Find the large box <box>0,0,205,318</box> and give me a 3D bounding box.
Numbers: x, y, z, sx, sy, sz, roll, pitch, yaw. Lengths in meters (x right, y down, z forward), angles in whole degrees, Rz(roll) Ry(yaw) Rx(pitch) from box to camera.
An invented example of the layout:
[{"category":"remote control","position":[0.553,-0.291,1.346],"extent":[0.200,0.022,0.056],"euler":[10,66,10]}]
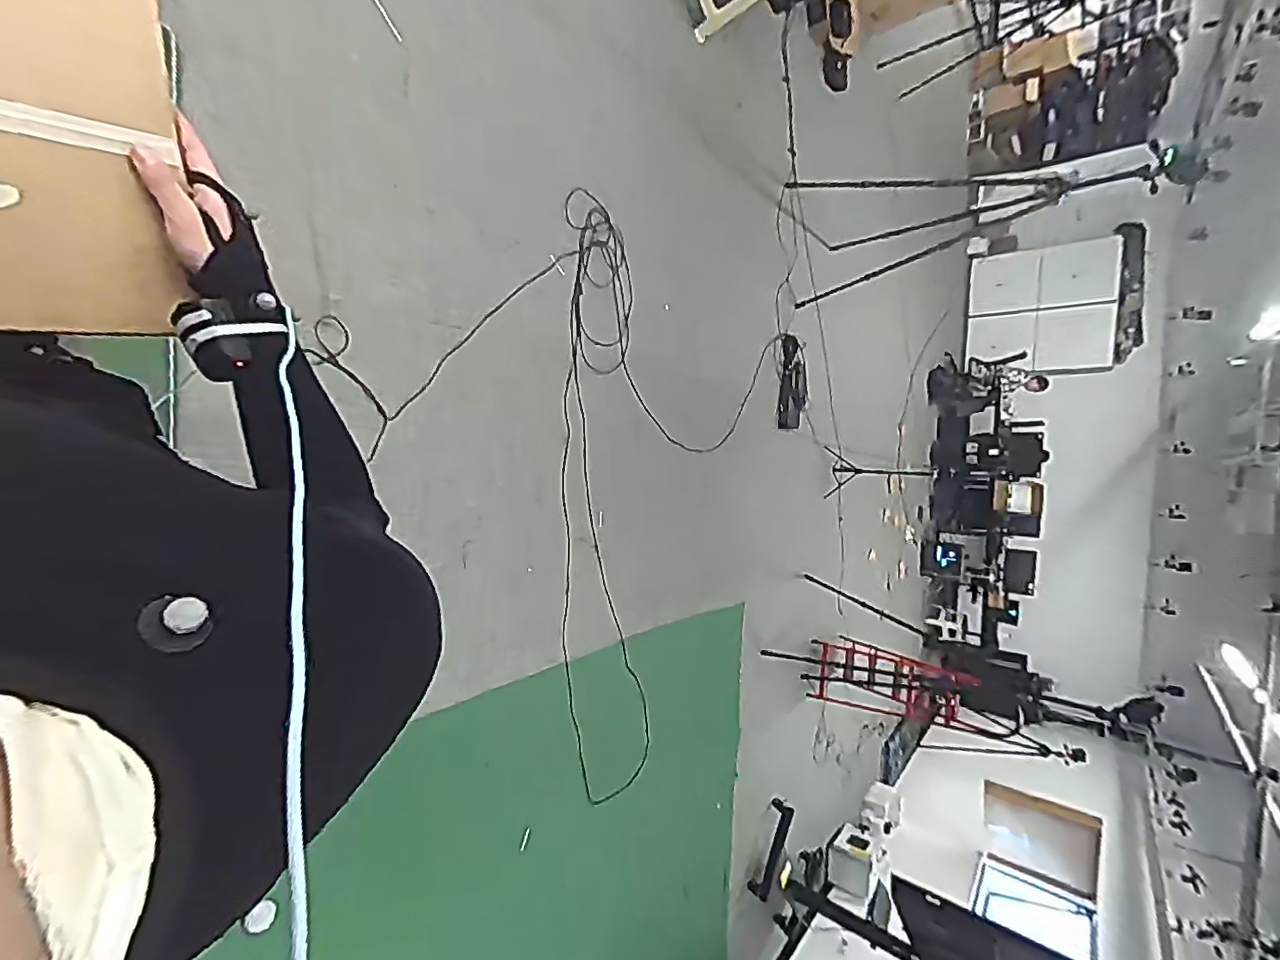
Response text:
[{"category":"large box","position":[-0.662,-0.296,0.430],"extent":[0.408,0.320,0.320],"euler":[-16,113,-49]}]
